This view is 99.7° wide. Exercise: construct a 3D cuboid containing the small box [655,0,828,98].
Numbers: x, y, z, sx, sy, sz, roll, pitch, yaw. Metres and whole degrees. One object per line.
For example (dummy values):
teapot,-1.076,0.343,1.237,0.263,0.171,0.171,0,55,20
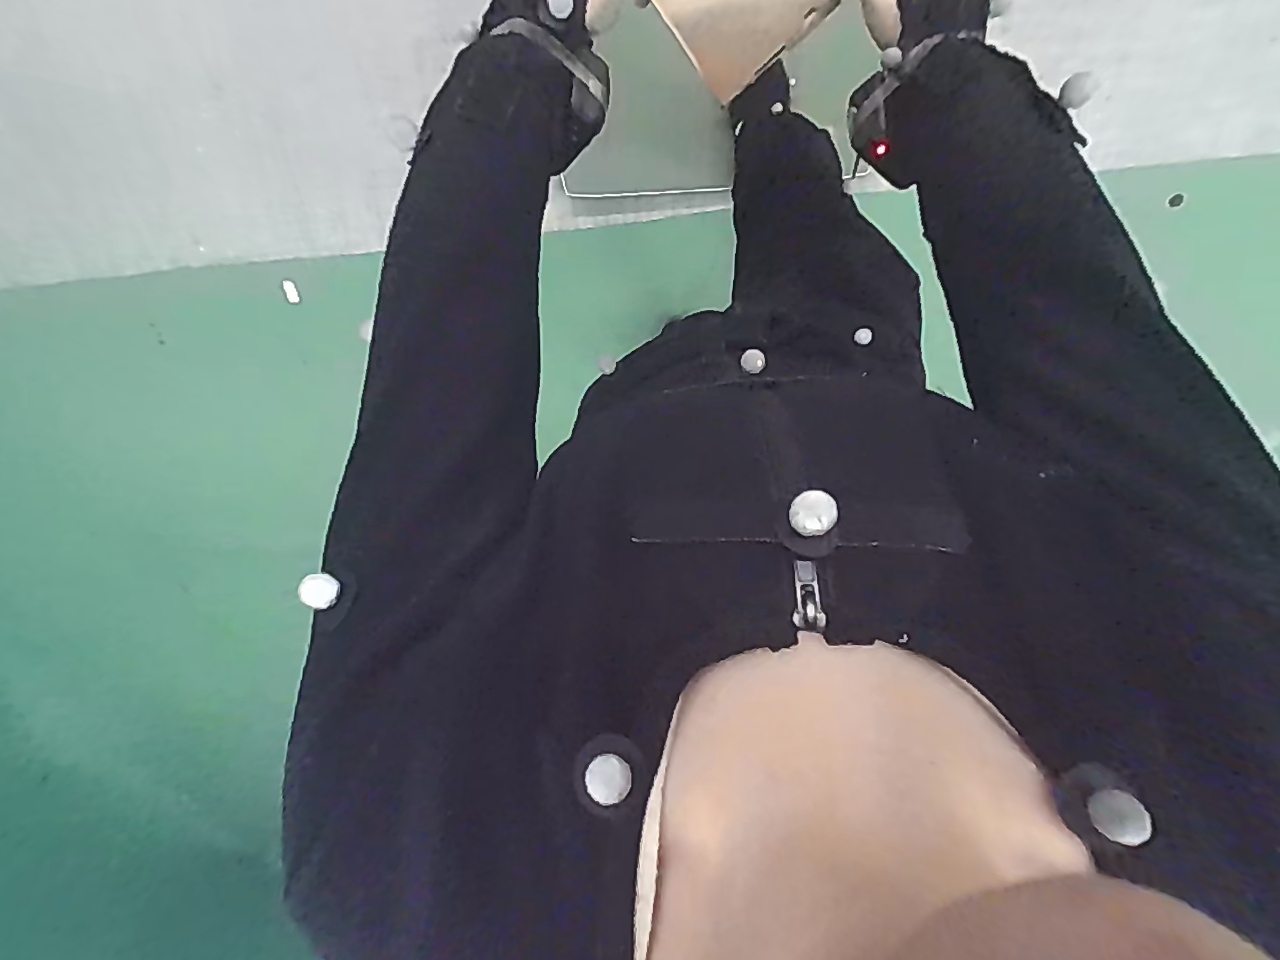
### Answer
small box,0.070,-0.449,0.411,0.168,0.176,0.179,-32,128,28
